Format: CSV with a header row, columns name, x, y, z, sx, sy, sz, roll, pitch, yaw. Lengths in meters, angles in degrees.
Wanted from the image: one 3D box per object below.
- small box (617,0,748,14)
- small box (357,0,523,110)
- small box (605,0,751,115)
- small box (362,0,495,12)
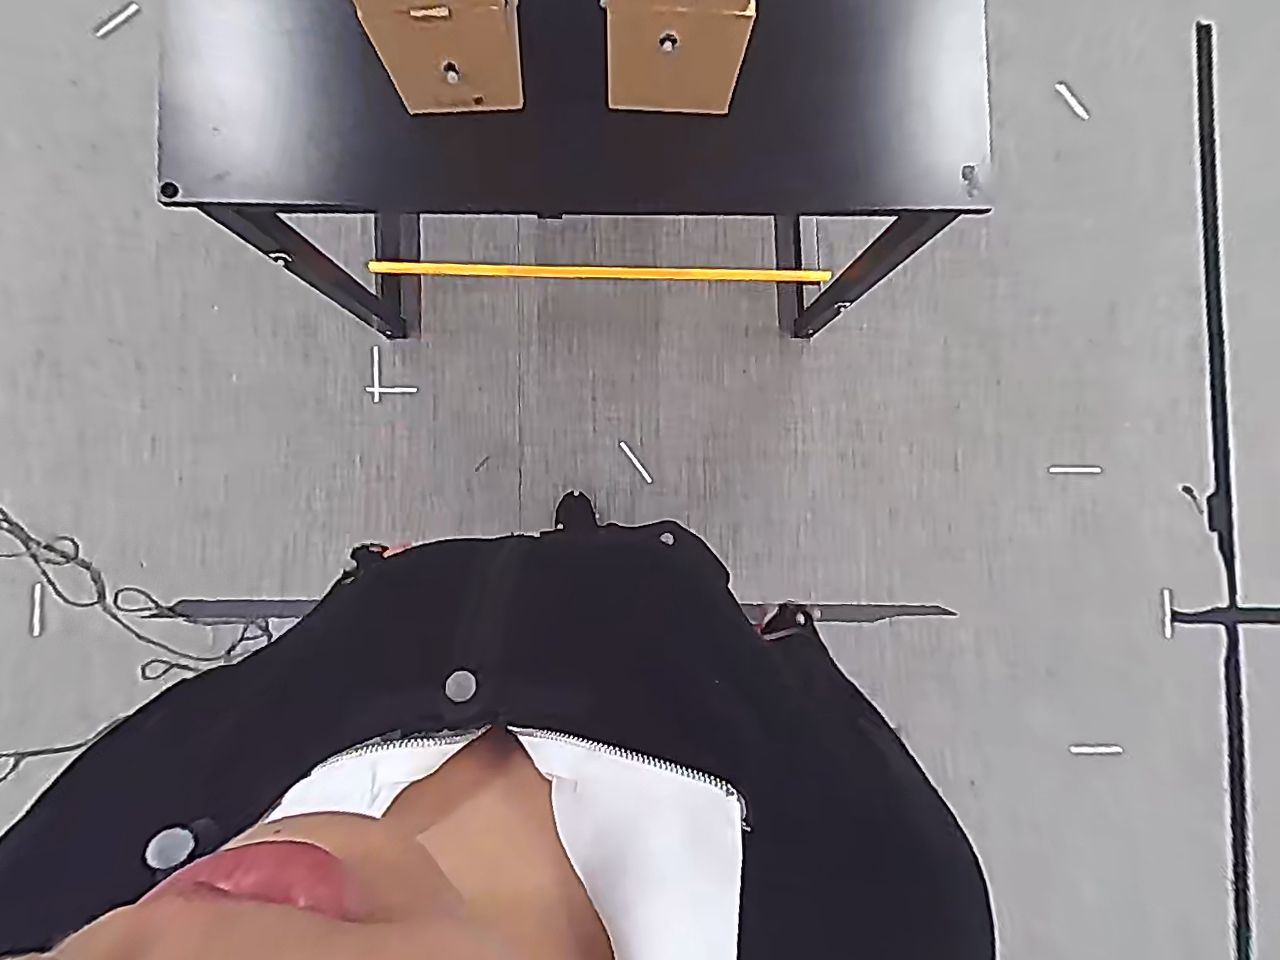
name,x,y,z,sx,sy,sz,roll,pitch,yaw
small box,0.049,-0.642,0.563,0.168,0.176,0.179,0,89,-1
small box,-0.255,-0.623,0.713,0.168,0.176,0.179,-5,88,-2
small box,0.044,-0.627,0.725,0.179,0.176,0.168,1,88,-3
small box,-0.247,-0.633,0.547,0.168,0.176,0.179,-6,88,-2
